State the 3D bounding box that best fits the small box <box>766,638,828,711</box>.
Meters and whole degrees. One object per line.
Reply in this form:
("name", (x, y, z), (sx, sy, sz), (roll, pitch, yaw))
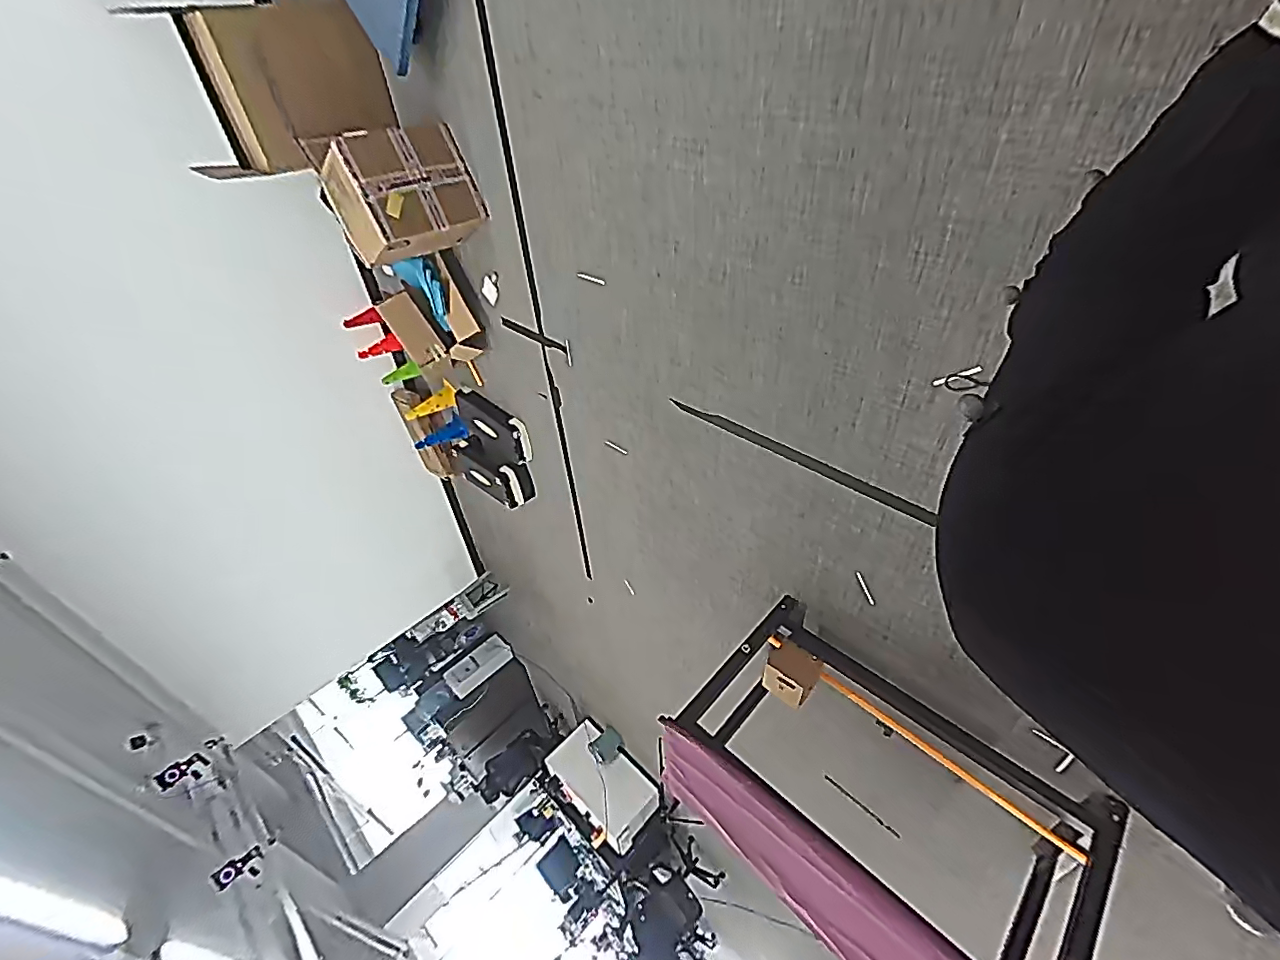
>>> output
("small box", (0.618, 0.757, 2.122), (0.168, 0.176, 0.179), (30, 142, 33))
